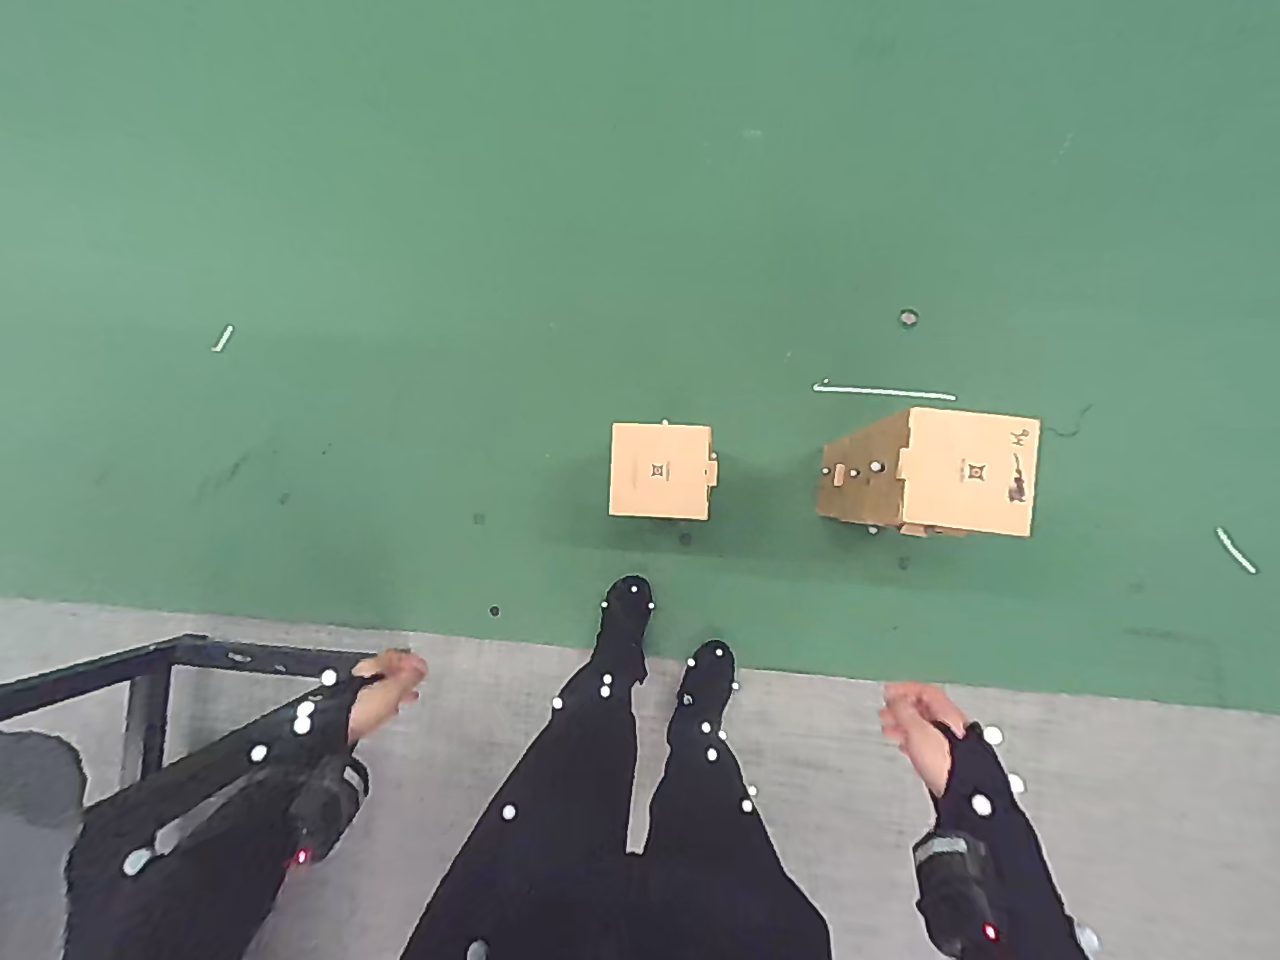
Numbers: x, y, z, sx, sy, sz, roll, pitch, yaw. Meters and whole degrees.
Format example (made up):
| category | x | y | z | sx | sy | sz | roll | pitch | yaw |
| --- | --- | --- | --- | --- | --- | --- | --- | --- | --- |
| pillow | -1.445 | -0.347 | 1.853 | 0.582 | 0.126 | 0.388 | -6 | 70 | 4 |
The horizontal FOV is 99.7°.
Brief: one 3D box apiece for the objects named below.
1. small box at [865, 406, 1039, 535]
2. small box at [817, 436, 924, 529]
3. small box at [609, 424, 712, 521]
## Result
| category | x | y | z | sx | sy | sz | roll | pitch | yaw |
| --- | --- | --- | --- | --- | --- | --- | --- | --- | --- |
| small box | 0.461 | -0.009 | 0.826 | 0.179 | 0.176 | 0.168 | 7 | 88 | 5 |
| small box | 0.495 | 0.005 | 1.153 | 0.179 | 0.176 | 0.168 | 8 | 89 | 5 |
| small box | 0.040 | -0.011 | 1.020 | 0.179 | 0.176 | 0.168 | 2 | 87 | 5 |
